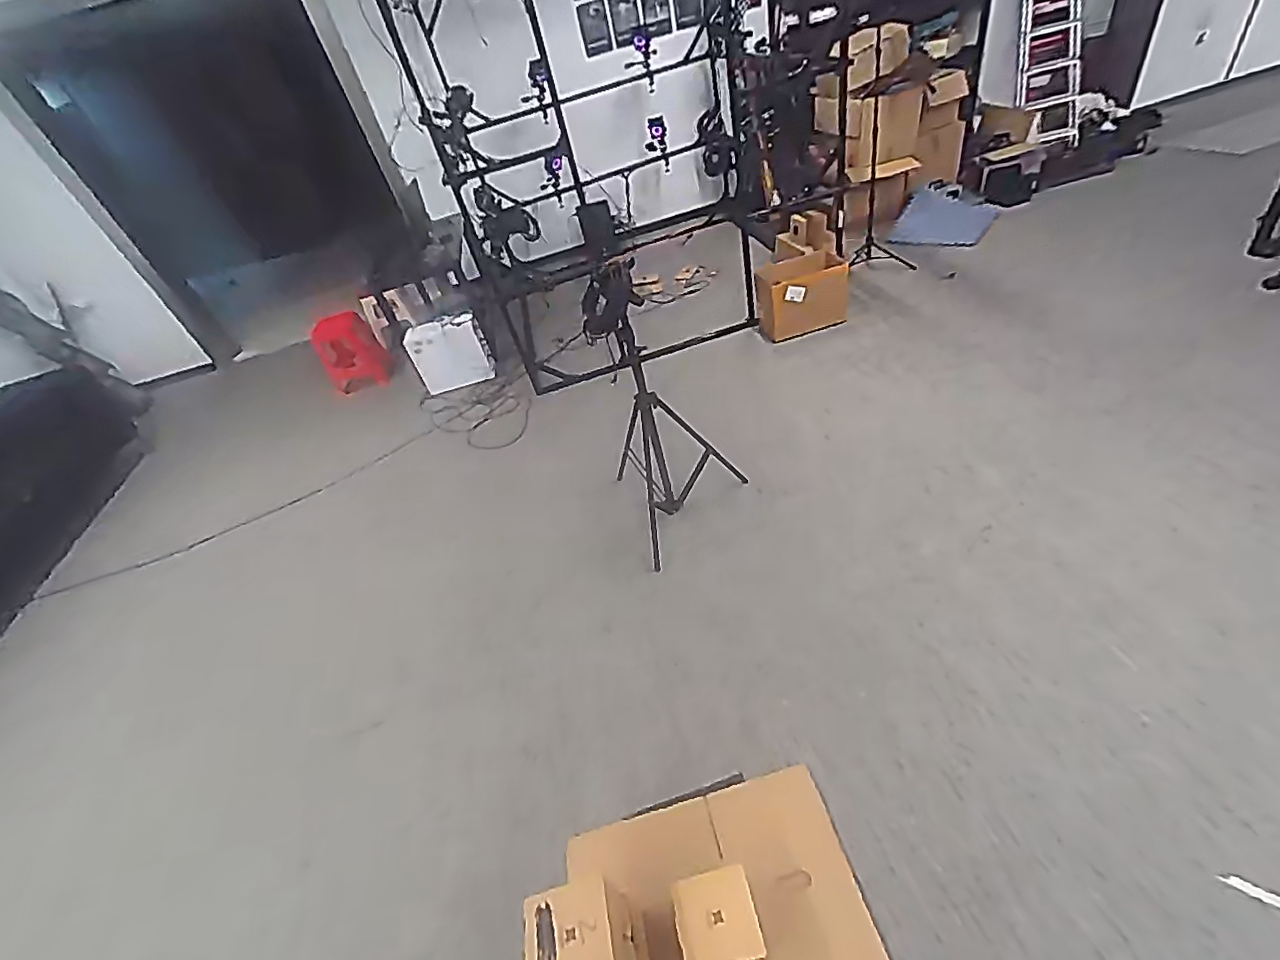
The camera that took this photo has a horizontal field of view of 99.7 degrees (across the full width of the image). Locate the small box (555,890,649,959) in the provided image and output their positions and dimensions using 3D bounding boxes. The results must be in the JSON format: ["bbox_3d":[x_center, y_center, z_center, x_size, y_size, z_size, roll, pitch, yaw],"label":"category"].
[{"bbox_3d":[-0.079,1.064,1.222,0.179,0.176,0.168,-18,40,0],"label":"small box"}]

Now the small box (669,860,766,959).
[{"bbox_3d":[0.177,0.993,1.220,0.179,0.176,0.168,-16,41,0],"label":"small box"}]
